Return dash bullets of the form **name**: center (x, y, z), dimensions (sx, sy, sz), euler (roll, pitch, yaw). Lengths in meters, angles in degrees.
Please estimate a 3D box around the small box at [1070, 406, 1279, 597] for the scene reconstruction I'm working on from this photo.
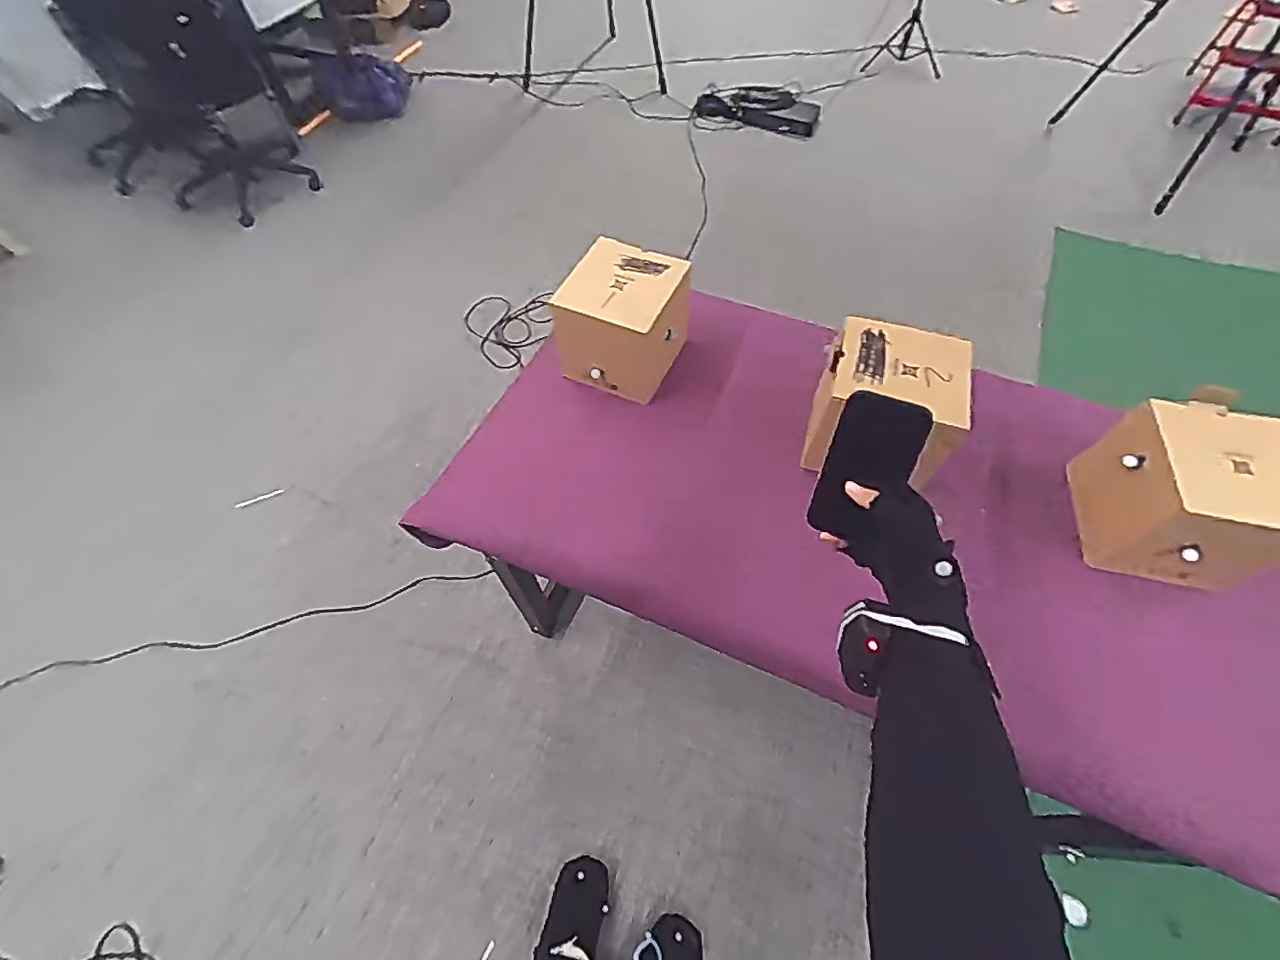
- **small box**: center (0.714, 0.034, 0.710), dimensions (0.168, 0.176, 0.179), euler (12, 58, 8)

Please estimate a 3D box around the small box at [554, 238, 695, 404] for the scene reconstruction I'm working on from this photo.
- **small box**: center (-0.022, -0.260, 0.897), dimensions (0.168, 0.176, 0.179), euler (22, 62, 14)
